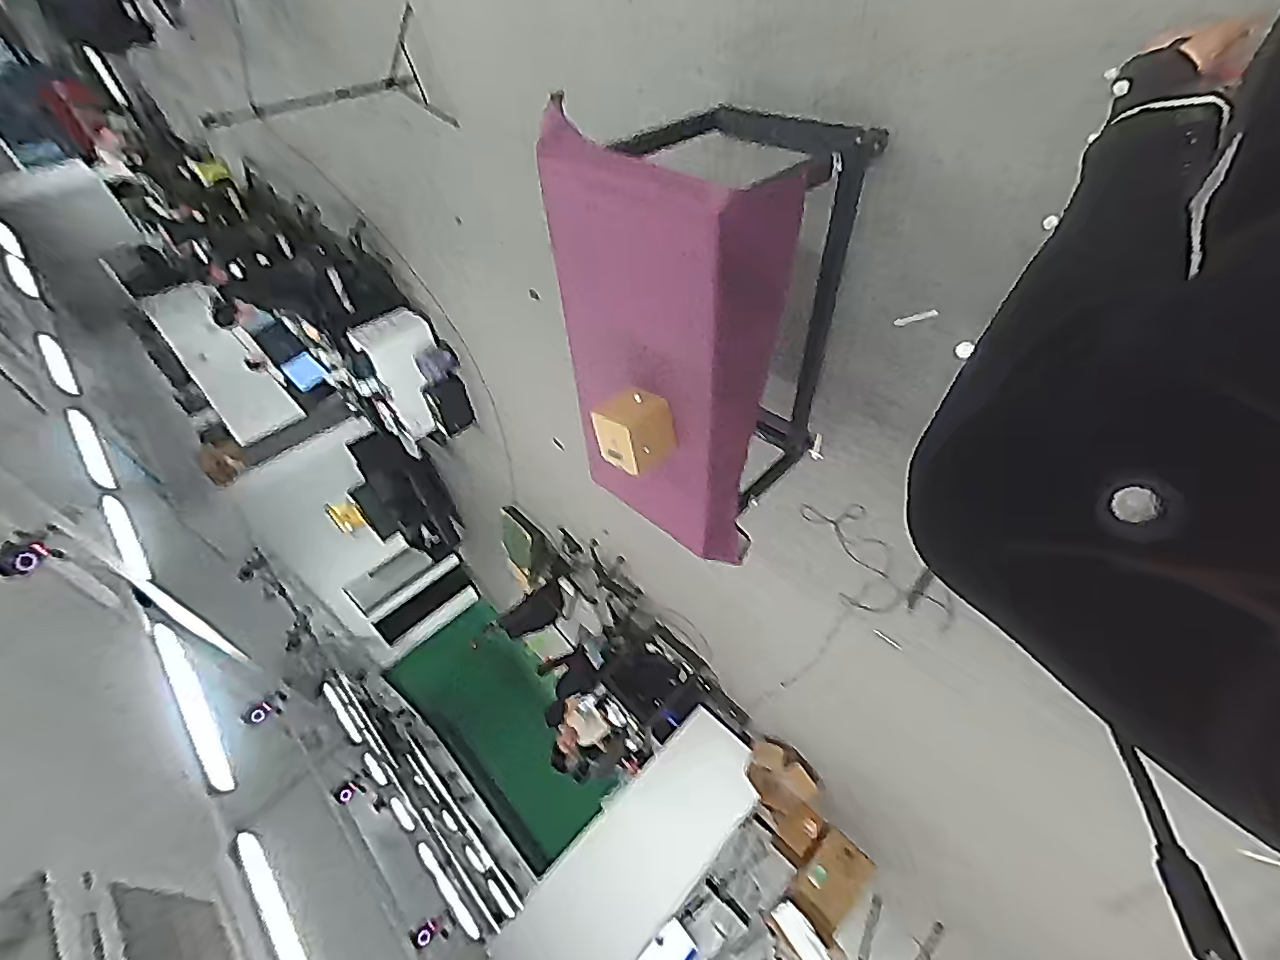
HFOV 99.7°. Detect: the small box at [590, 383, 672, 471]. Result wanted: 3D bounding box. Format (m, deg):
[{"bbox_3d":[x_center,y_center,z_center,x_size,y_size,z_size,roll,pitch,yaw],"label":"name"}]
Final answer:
[{"bbox_3d":[-0.020,-0.162,1.619,0.168,0.176,0.179,27,143,39],"label":"small box"}]
